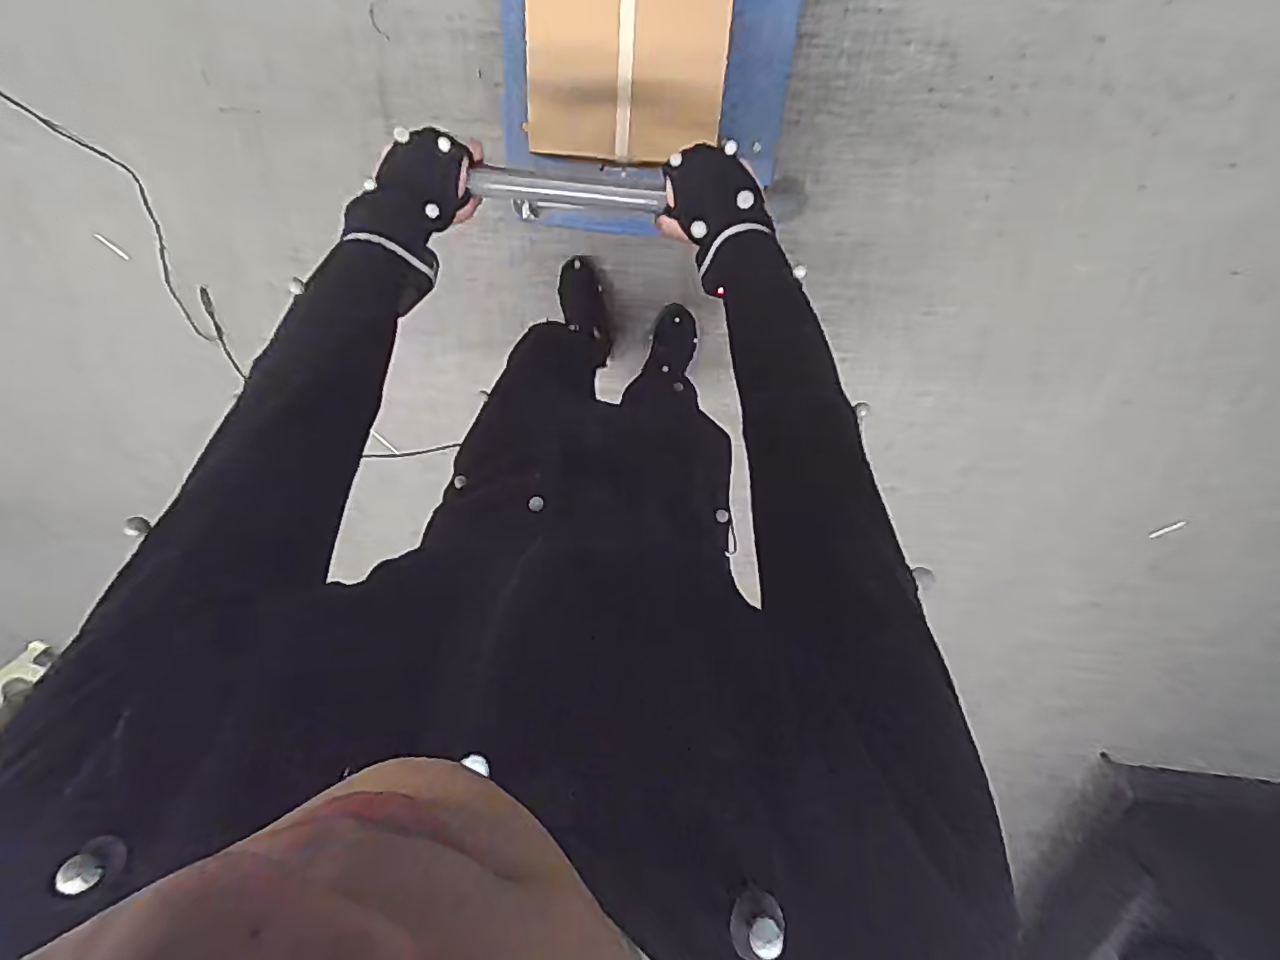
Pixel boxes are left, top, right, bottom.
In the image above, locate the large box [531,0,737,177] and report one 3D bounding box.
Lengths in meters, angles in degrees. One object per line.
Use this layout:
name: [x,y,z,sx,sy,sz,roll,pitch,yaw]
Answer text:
large box: [0.003,-0.771,0.942,0.320,0.320,0.408,5,116,3]
